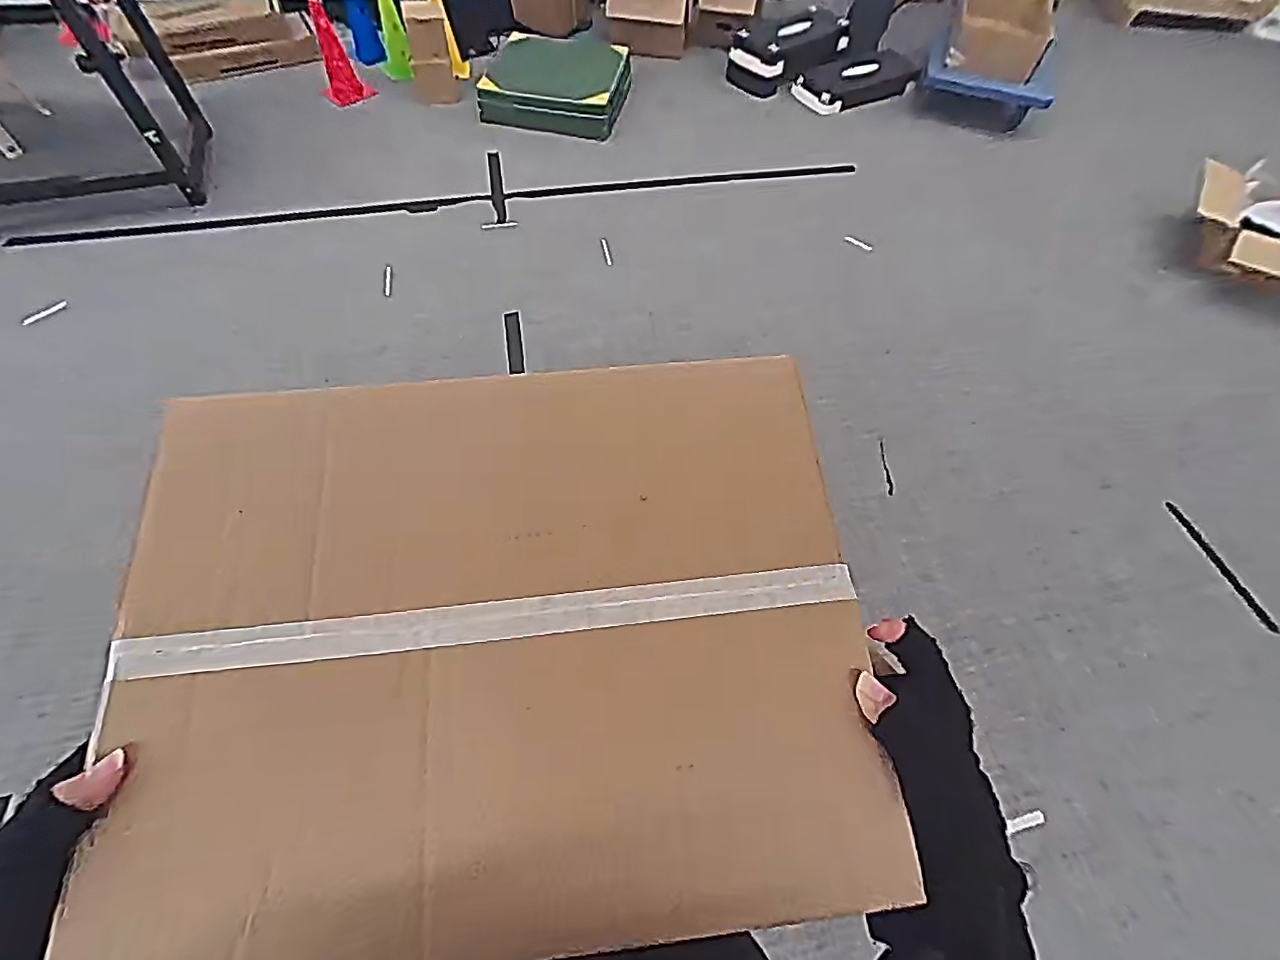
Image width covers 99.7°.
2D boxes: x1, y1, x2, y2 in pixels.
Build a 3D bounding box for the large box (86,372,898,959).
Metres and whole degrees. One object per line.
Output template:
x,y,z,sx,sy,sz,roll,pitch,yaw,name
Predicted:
-0.083,0.138,0.452,0.408,0.320,0.320,-5,69,-4,large box
